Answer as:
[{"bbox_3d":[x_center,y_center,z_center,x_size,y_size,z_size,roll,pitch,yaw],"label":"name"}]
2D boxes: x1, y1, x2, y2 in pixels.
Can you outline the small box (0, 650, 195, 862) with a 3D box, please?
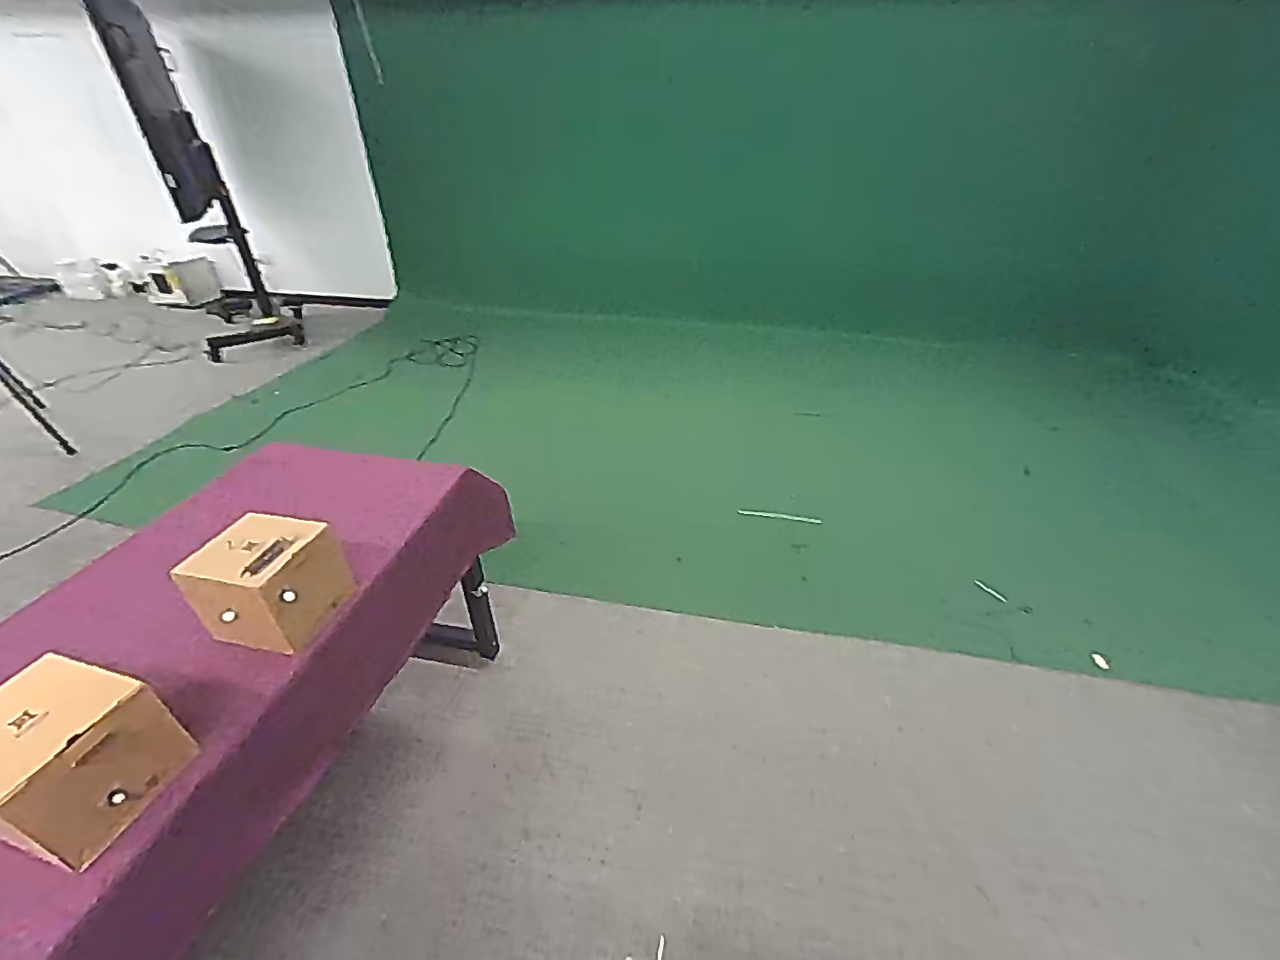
[{"bbox_3d":[-0.751,0.358,0.706,0.179,0.176,0.168,10,35,13],"label":"small box"}]
